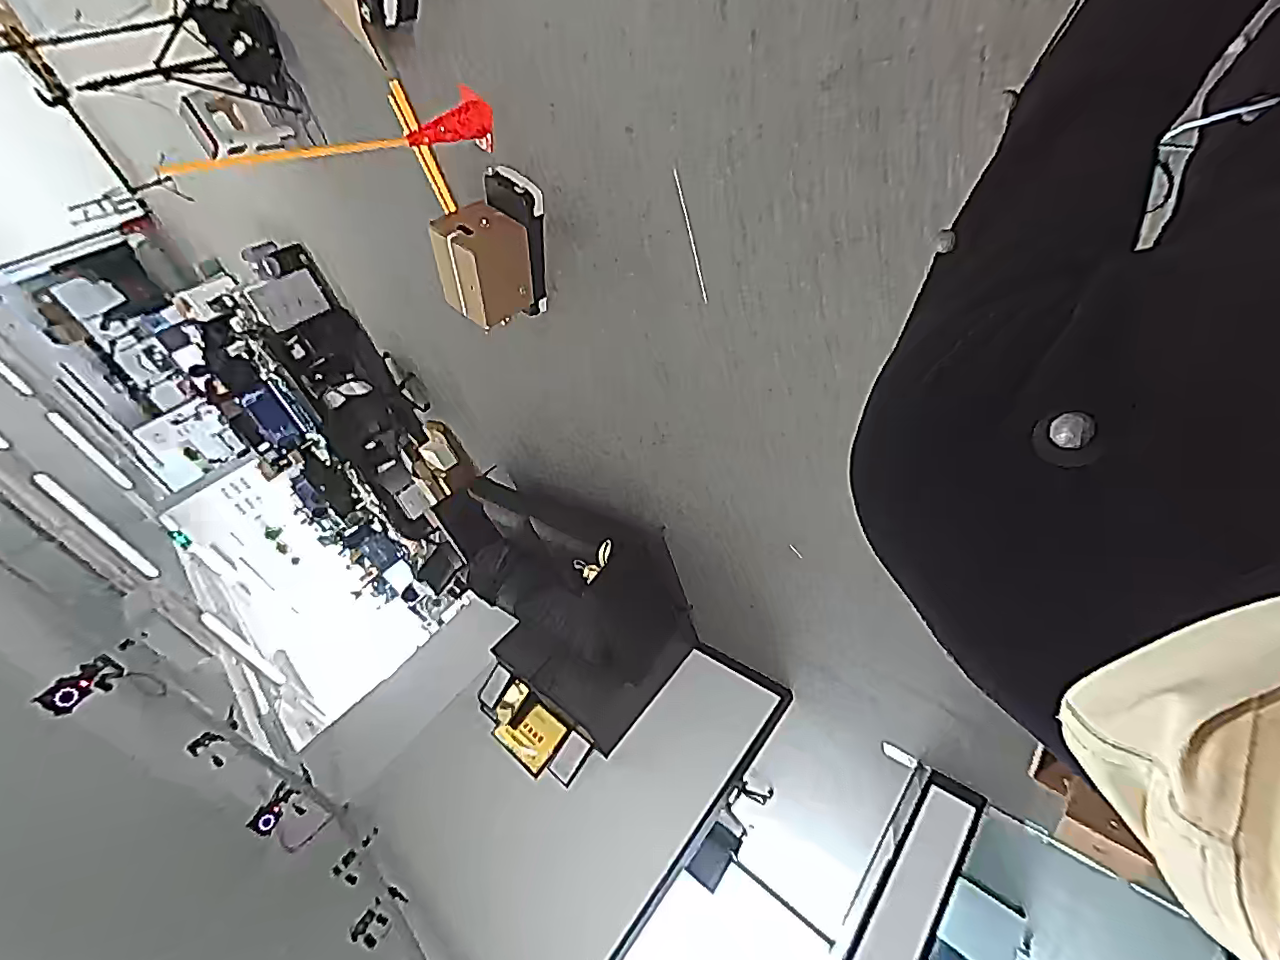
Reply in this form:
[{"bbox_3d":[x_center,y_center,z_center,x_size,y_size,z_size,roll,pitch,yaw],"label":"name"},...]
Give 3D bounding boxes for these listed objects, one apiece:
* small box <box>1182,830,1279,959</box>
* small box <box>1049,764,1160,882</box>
[{"bbox_3d":[1.399,0.958,1.242,0.168,0.176,0.179,19,141,41],"label":"small box"},{"bbox_3d":[1.214,0.889,1.414,0.179,0.176,0.168,21,141,40],"label":"small box"}]
